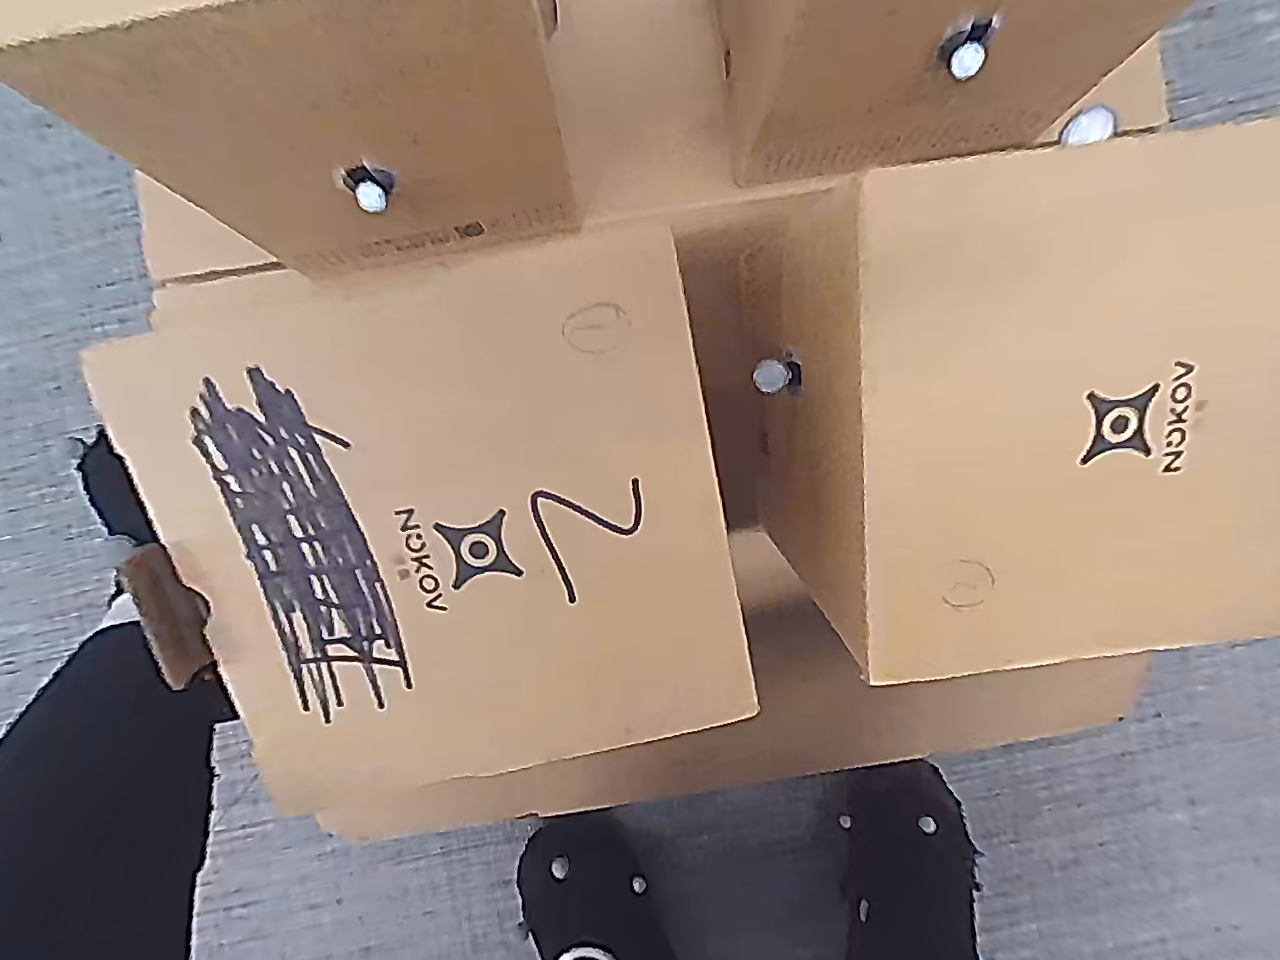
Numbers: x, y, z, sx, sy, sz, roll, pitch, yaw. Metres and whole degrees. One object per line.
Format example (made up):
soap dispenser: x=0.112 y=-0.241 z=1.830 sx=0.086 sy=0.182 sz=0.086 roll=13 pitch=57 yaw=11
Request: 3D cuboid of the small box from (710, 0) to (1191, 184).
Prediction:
small box: x=0.128 y=-0.258 z=0.231 sx=0.179 sy=0.176 sz=0.168 roll=-8 pitch=90 yaw=2

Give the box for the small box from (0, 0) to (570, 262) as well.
small box: x=-0.132 y=-0.214 z=0.234 sx=0.168 sy=0.176 sz=0.179 roll=-11 pitch=89 yaw=0
